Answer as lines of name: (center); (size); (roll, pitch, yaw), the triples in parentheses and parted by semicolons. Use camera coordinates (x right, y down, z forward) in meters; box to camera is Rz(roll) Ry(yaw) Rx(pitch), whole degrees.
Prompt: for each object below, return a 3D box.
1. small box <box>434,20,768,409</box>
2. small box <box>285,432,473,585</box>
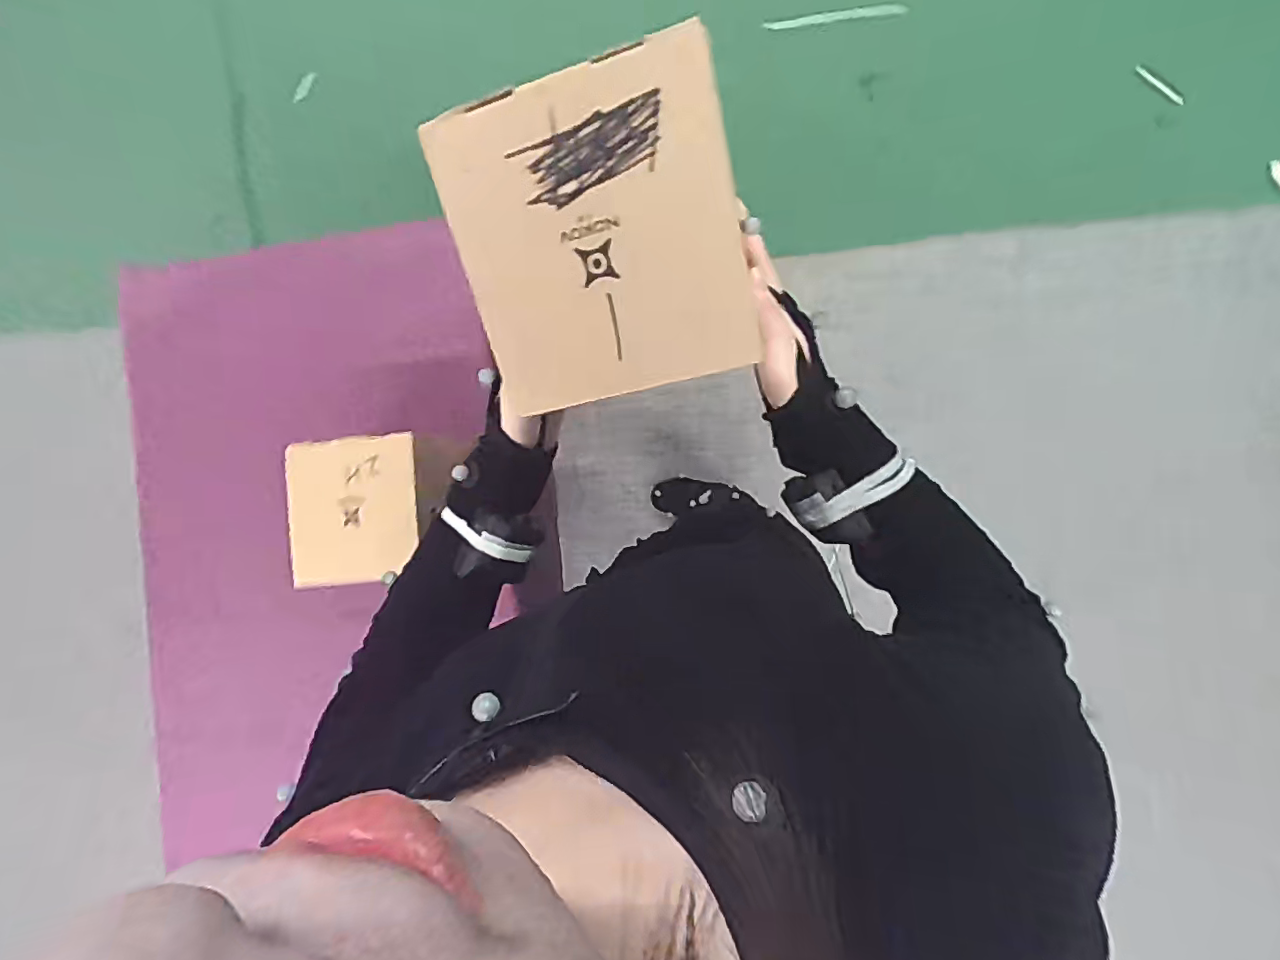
small box: (-0.008, -0.166, 0.385); (0.168, 0.176, 0.179); (-9, 110, 13)
small box: (-0.337, 0.036, 0.728); (0.168, 0.176, 0.179); (-5, 88, 6)
